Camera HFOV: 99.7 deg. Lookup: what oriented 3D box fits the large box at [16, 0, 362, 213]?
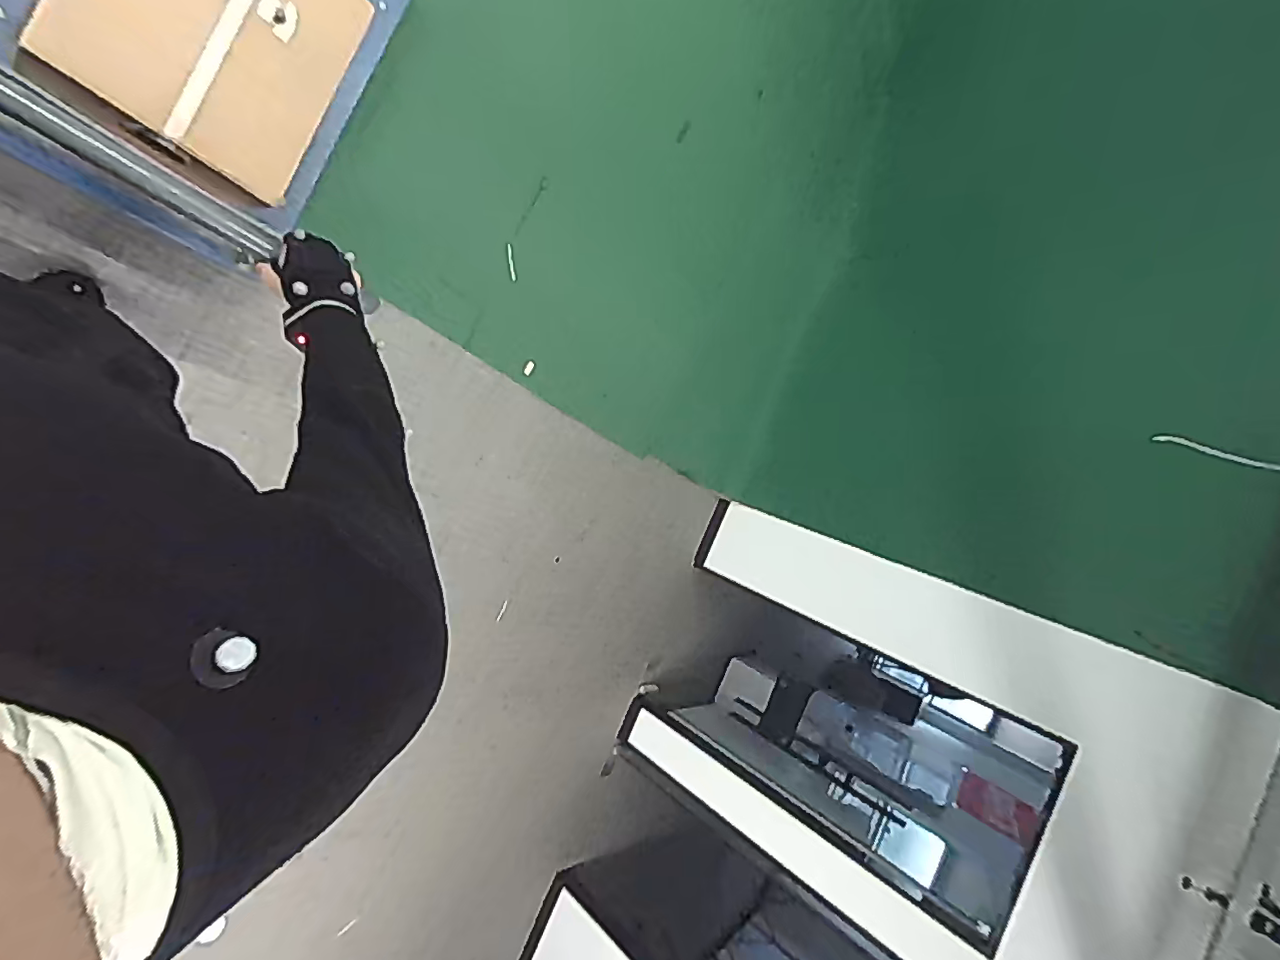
[{"bbox_3d":[-0.763,-0.734,0.924,0.320,0.320,0.408,28,84,-53],"label":"large box"}]
